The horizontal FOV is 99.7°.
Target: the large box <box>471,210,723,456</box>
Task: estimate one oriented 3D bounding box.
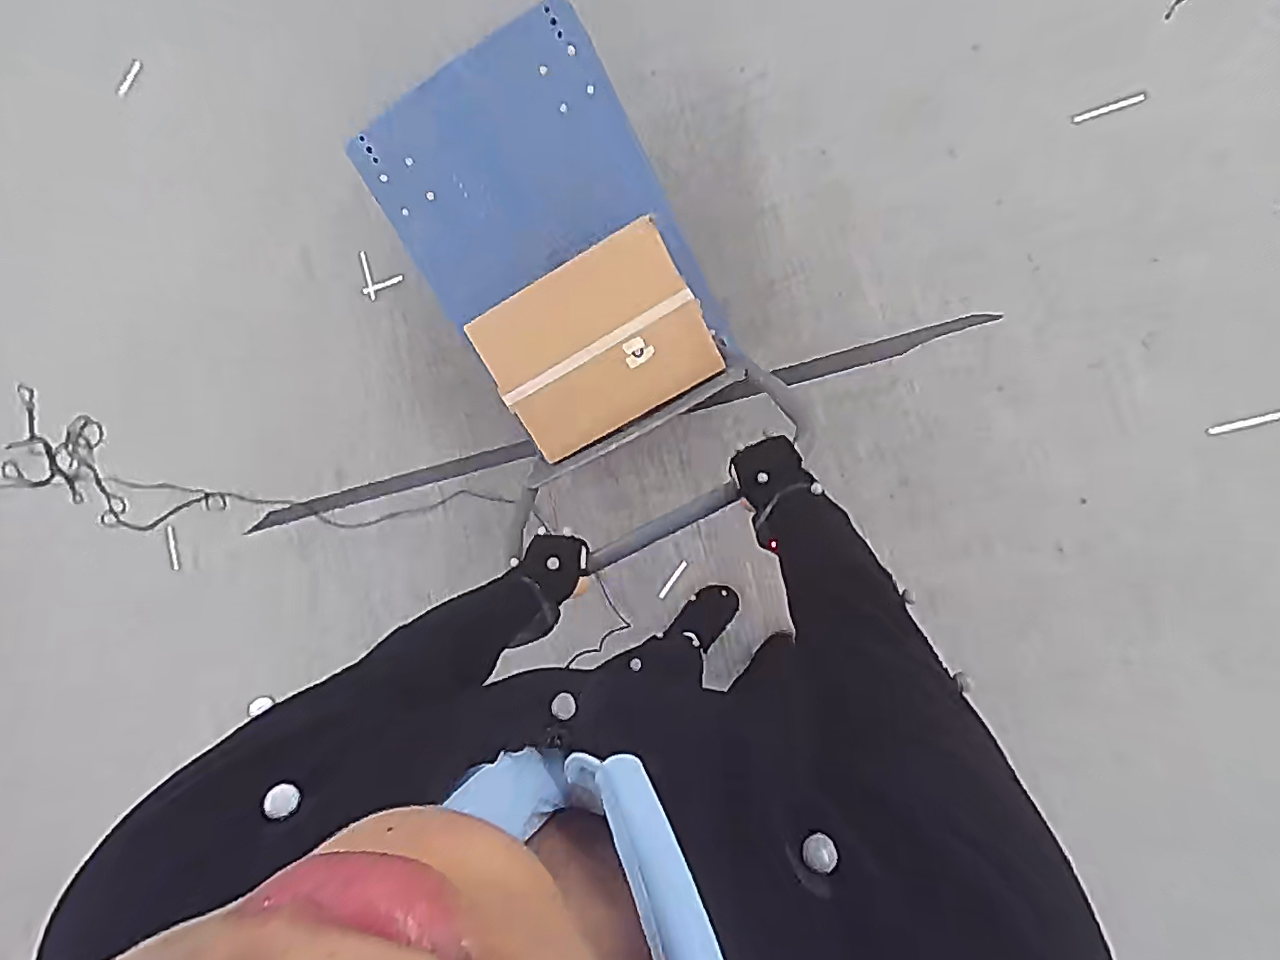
[{"bbox_3d":[-0.085,-0.310,1.185,0.408,0.320,0.320,-29,106,7],"label":"large box"}]
